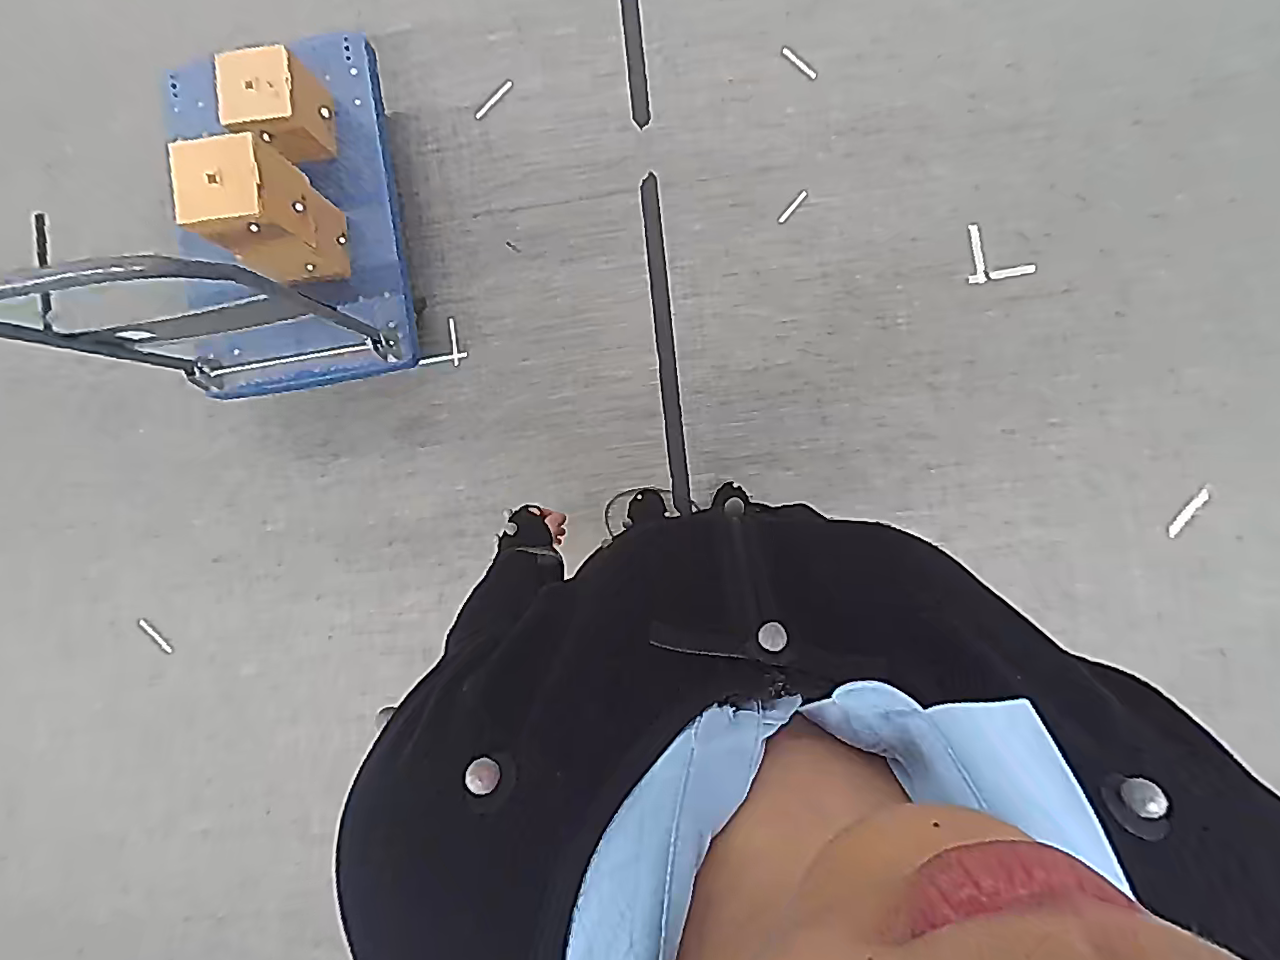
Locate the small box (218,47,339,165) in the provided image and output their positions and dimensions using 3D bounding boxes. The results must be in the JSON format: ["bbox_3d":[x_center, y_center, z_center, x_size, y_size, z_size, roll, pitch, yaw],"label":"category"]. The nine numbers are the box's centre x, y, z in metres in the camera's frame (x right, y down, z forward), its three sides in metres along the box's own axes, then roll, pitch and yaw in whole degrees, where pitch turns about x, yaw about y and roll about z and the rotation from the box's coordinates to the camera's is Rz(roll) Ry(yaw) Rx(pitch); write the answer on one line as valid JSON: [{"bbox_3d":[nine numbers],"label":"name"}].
[{"bbox_3d":[-0.865,-0.891,1.305,0.179,0.176,0.168,-5,90,4],"label":"small box"}]

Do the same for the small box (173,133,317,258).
[{"bbox_3d":[-0.823,-0.588,1.139,0.179,0.176,0.168,-7,89,3],"label":"small box"}]
